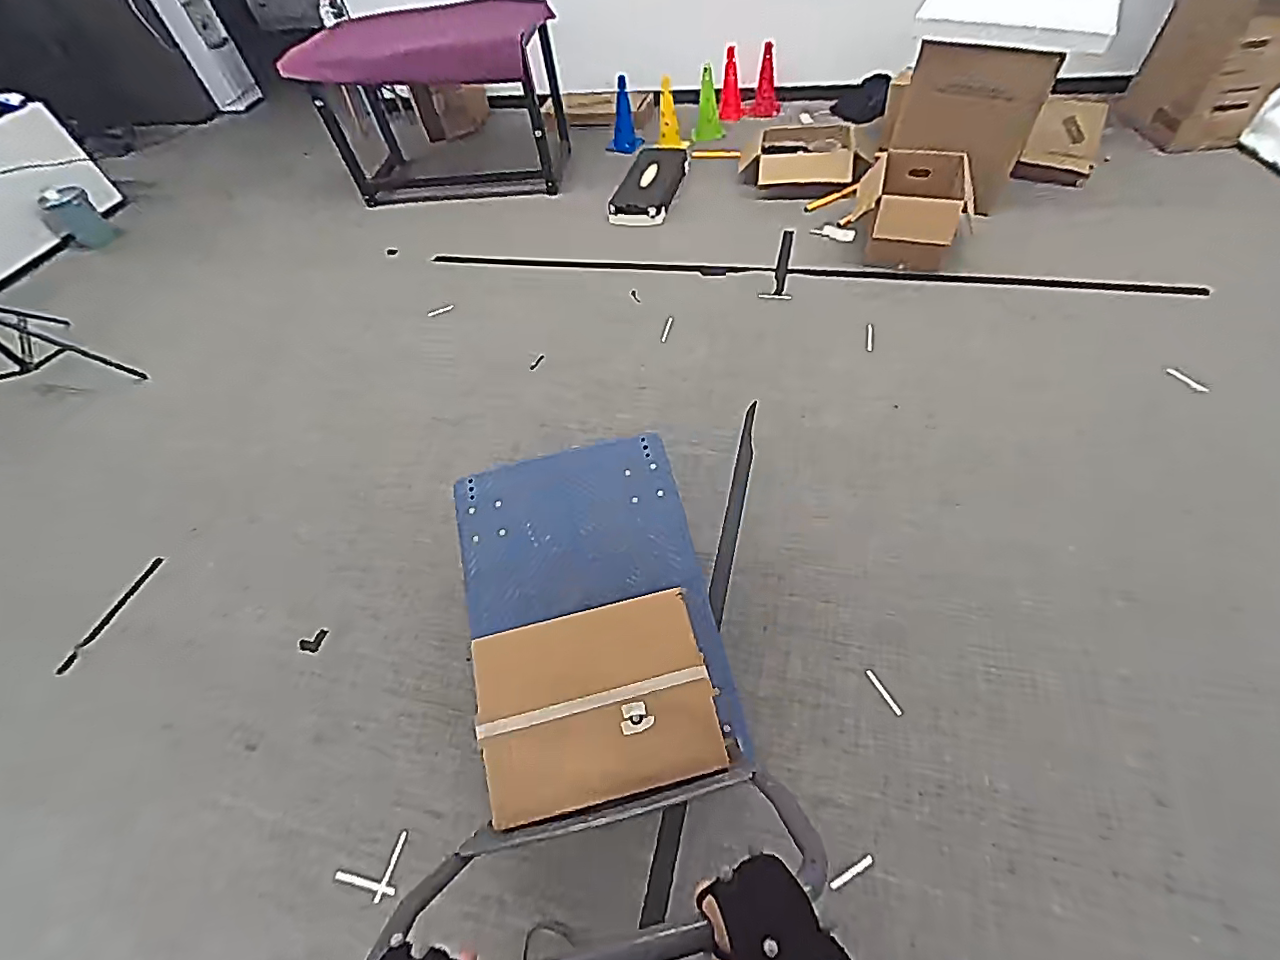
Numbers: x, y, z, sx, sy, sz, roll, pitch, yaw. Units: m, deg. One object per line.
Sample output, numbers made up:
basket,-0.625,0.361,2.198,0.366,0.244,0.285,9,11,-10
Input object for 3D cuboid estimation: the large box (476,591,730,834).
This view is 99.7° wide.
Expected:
large box,-0.073,0.458,1.098,0.408,0.320,0.320,-15,68,-5
